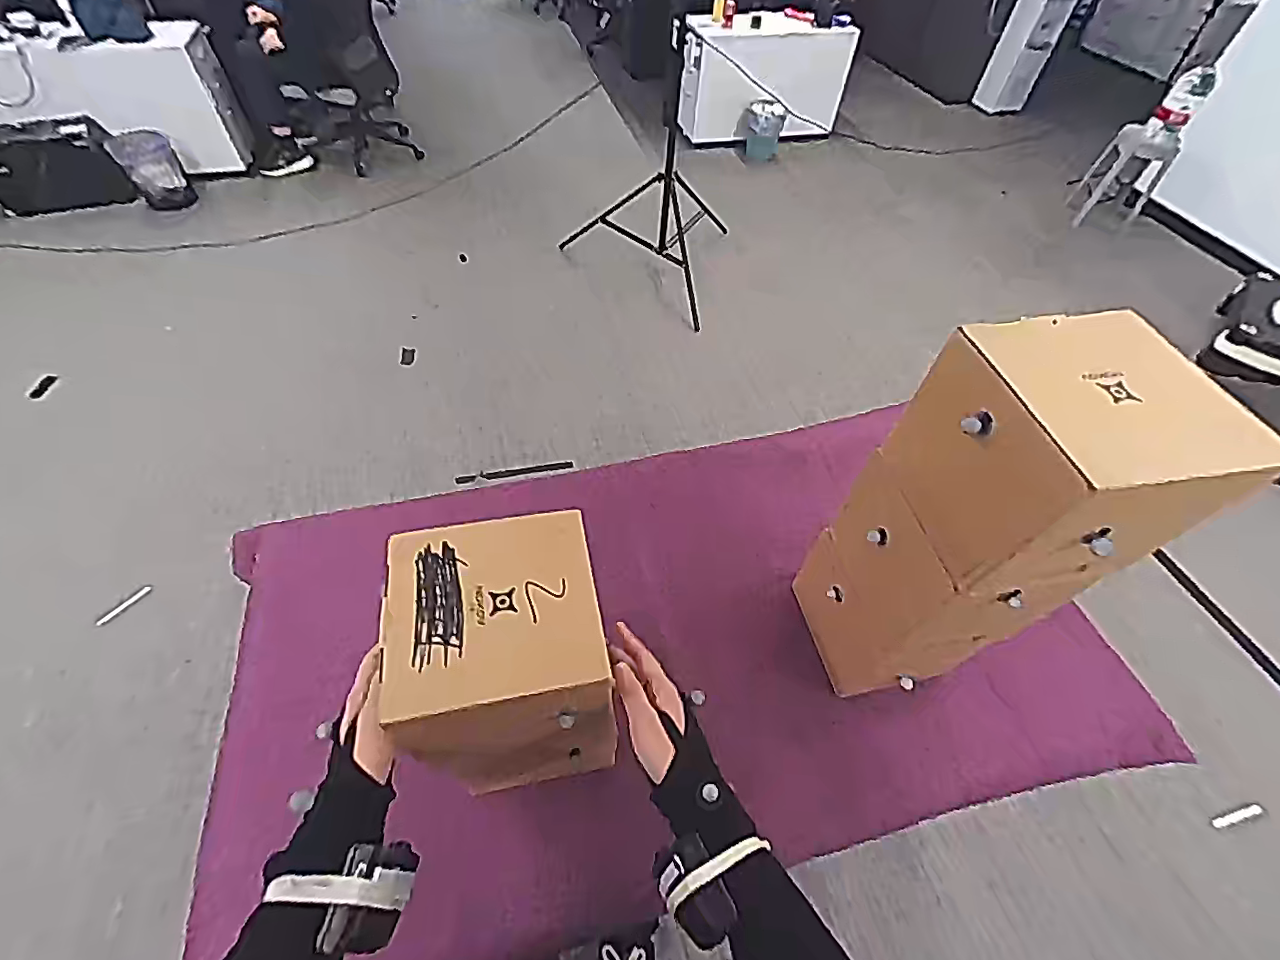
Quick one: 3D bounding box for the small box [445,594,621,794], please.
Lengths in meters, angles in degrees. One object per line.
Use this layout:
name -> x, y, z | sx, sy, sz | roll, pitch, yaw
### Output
small box -> -0.124, 0.257, 0.647 | 0.179, 0.176, 0.168 | -8, 52, -9

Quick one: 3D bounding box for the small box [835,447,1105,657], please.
small box -> 0.344, 0.075, 0.605 | 0.168, 0.176, 0.179 | -7, 52, -7

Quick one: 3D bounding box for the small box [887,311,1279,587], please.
small box -> 0.353, -0.020, 0.472 | 0.168, 0.176, 0.179 | -7, 53, -7

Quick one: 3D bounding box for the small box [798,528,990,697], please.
small box -> 0.337, 0.171, 0.738 | 0.168, 0.176, 0.179 | -9, 54, -9
